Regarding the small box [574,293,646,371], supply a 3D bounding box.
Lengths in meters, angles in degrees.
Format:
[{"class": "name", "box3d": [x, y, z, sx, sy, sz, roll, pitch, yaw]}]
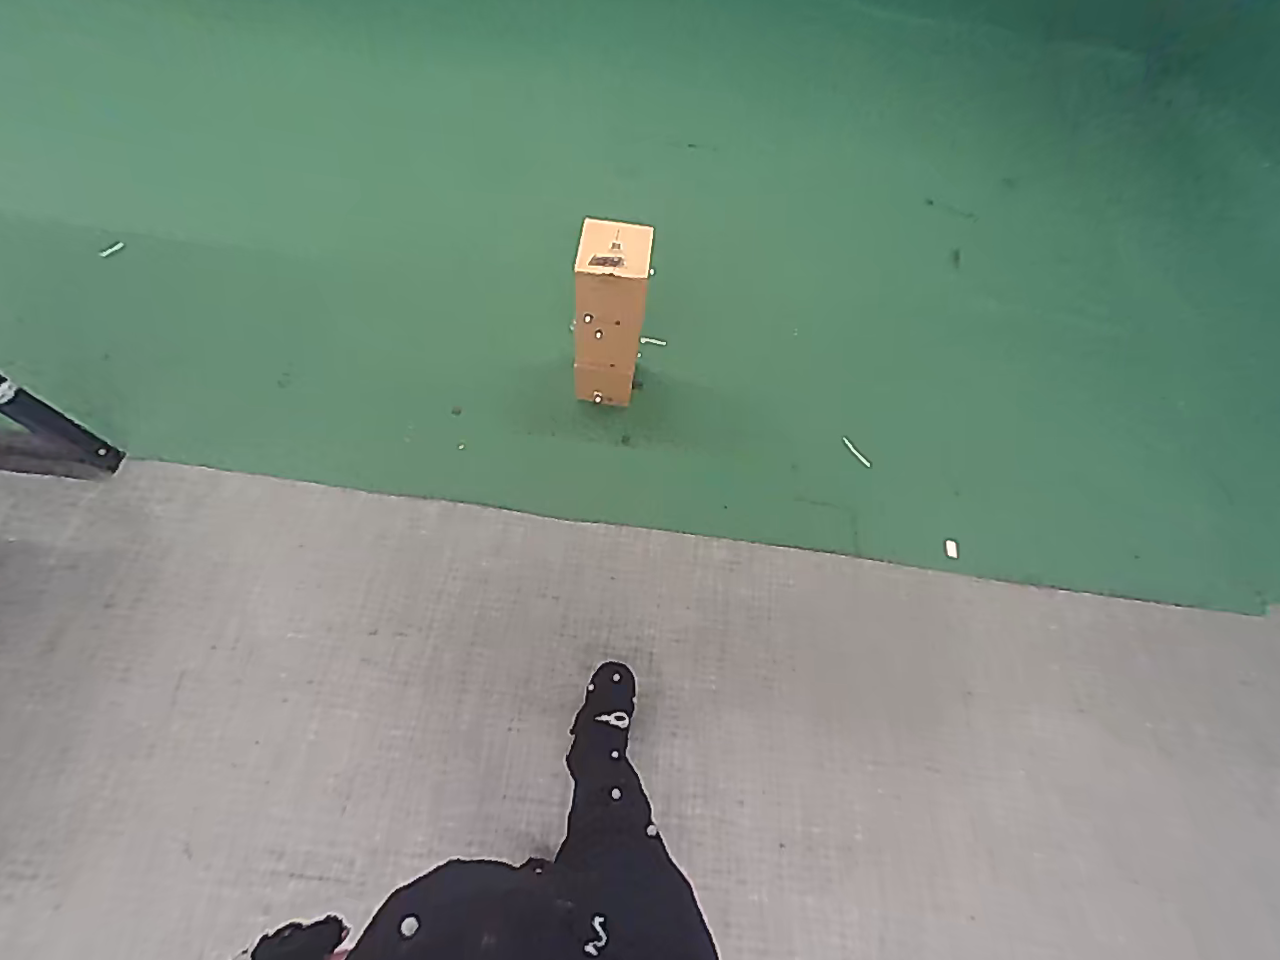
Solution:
[{"class": "small box", "box3d": [-0.081, -0.421, 1.447, 0.168, 0.176, 0.179, 8, 62, -1]}]

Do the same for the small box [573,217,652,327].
[{"class": "small box", "box3d": [-0.065, -0.495, 1.301, 0.168, 0.176, 0.179, 7, 63, -2]}]

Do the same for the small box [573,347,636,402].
[{"class": "small box", "box3d": [-0.099, -0.356, 1.576, 0.168, 0.176, 0.179, 9, 64, 0]}]
